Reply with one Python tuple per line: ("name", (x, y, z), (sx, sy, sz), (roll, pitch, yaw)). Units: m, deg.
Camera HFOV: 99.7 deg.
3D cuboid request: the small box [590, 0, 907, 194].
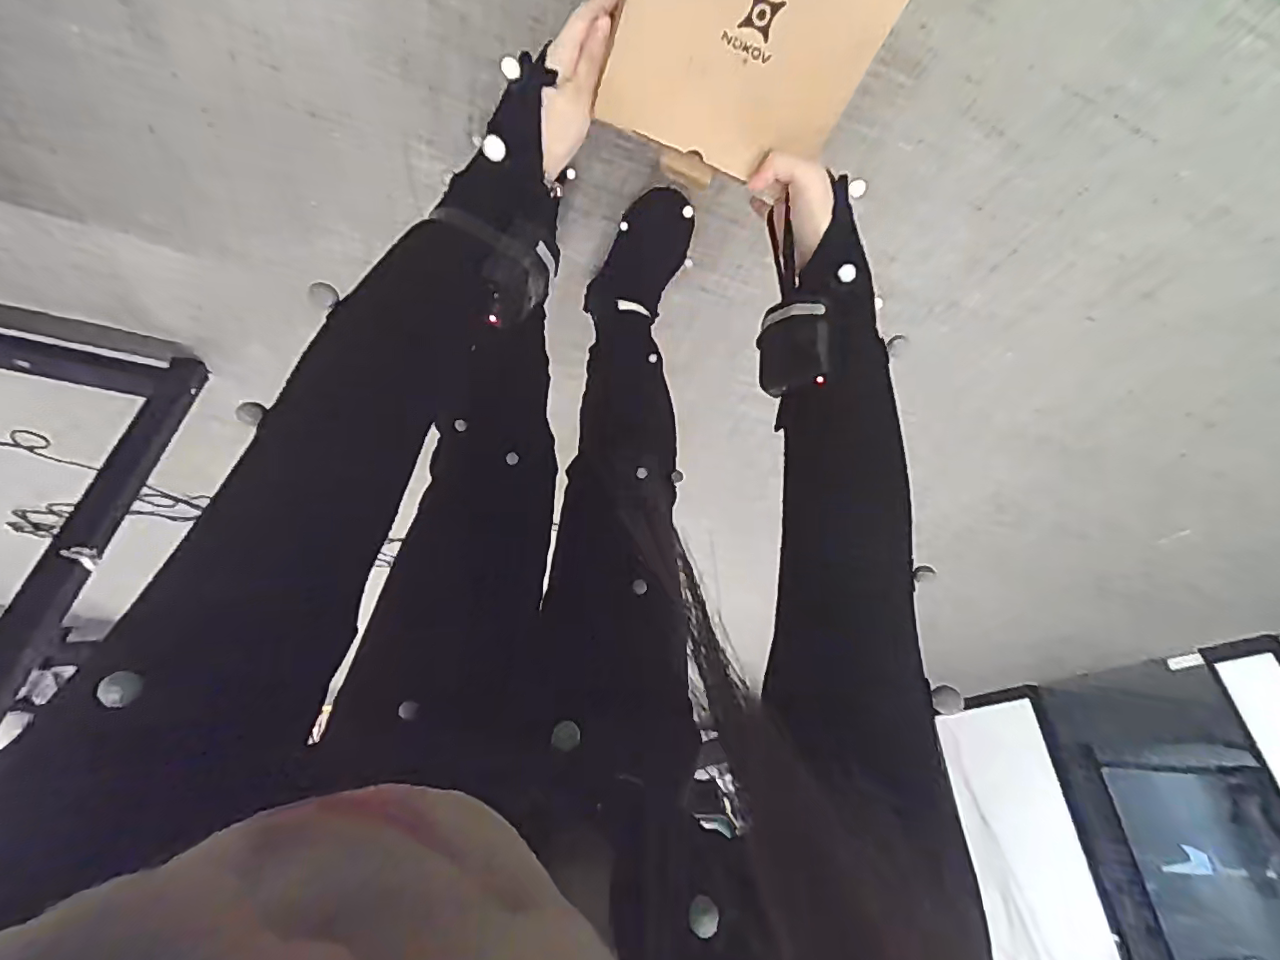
("small box", (0.075, -0.355, 0.385), (0.168, 0.176, 0.179), (14, 143, -16))
